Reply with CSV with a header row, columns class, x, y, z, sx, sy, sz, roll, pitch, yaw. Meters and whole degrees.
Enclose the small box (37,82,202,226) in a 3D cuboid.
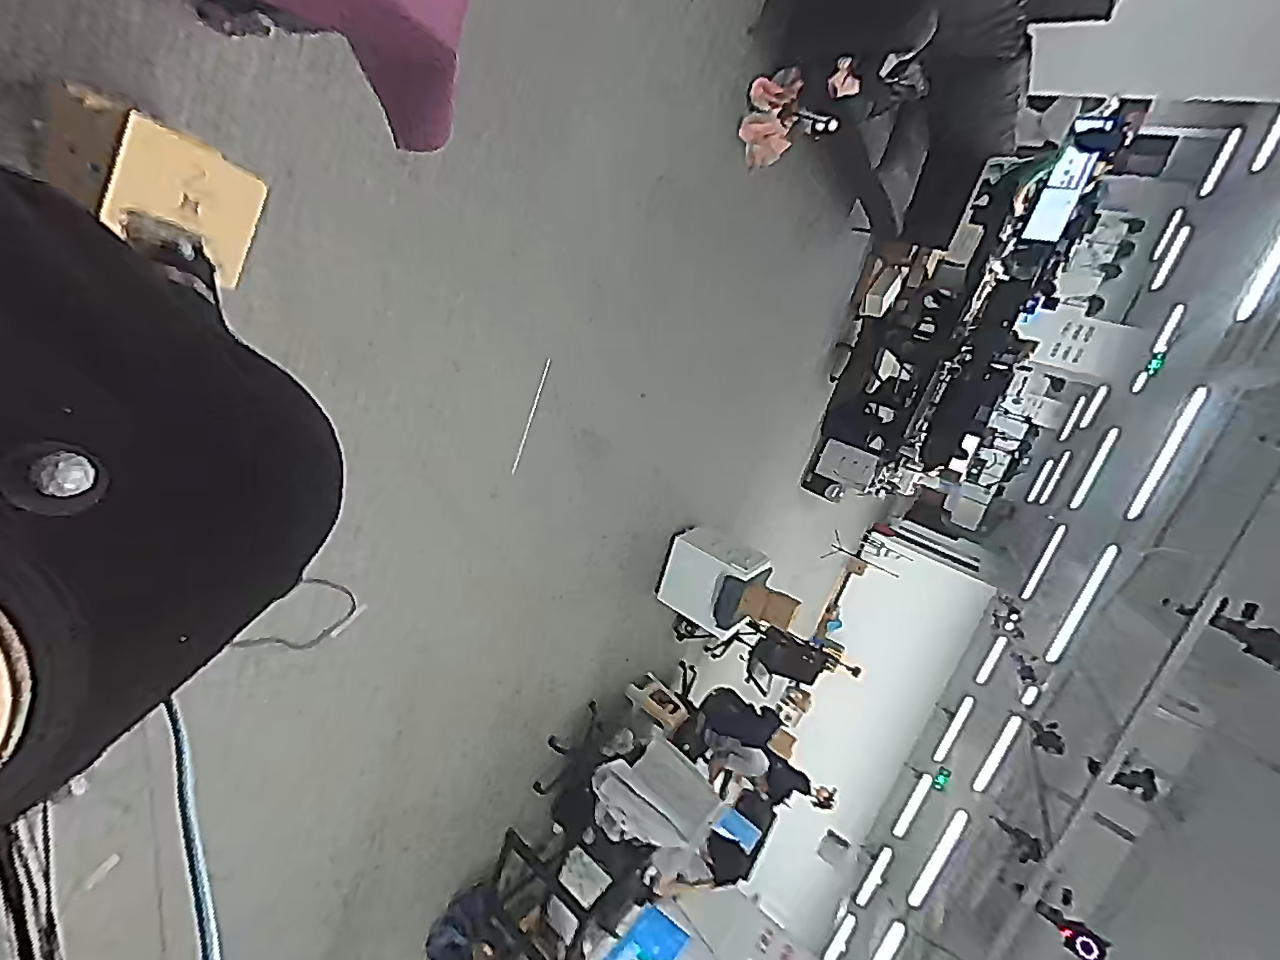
class,x,y,z,sx,sy,sz,roll,pitch,yaw
small box,-0.940,-0.588,0.978,0.179,0.176,0.168,0,113,-56
